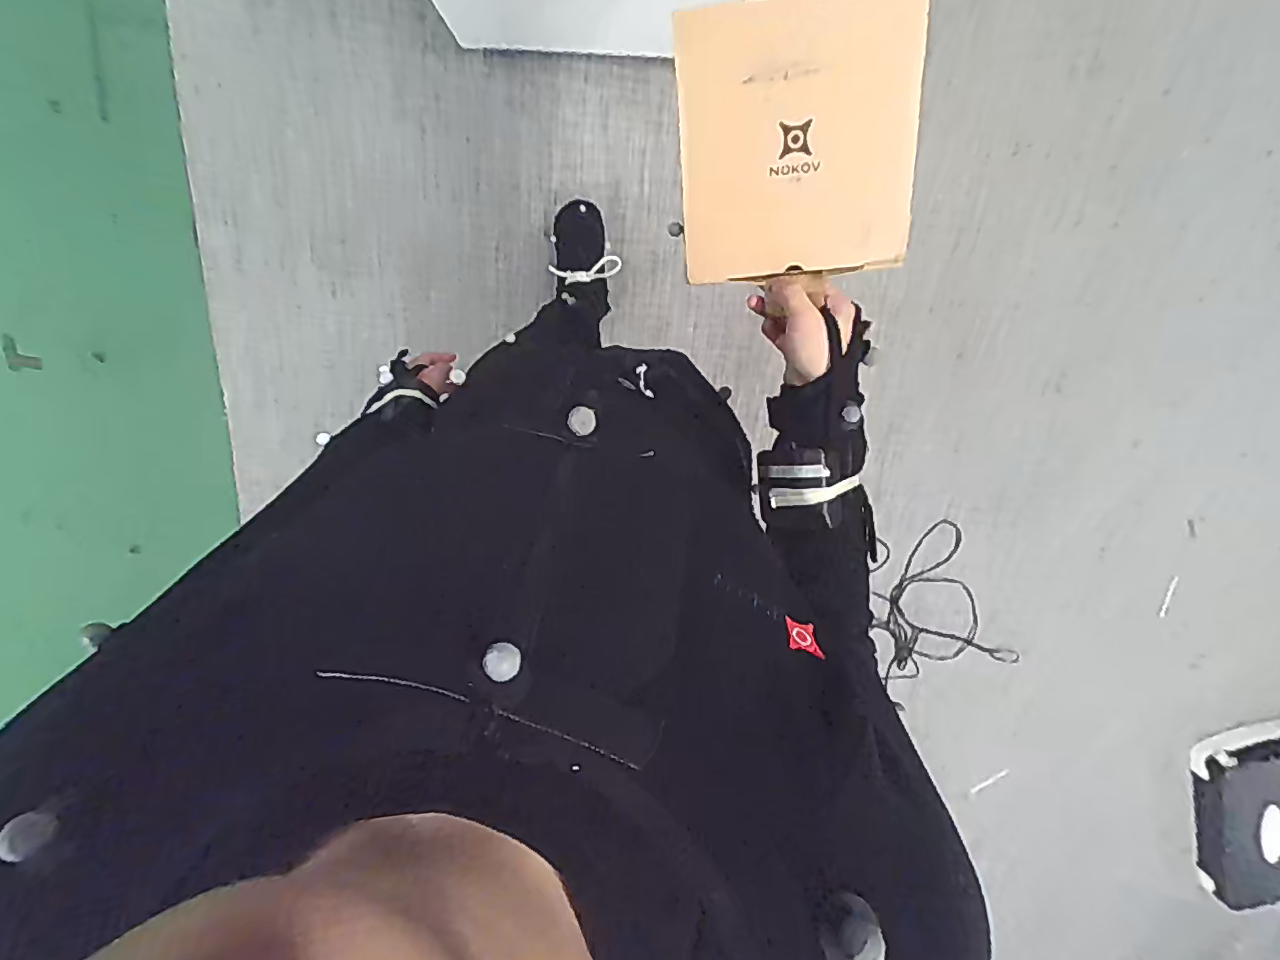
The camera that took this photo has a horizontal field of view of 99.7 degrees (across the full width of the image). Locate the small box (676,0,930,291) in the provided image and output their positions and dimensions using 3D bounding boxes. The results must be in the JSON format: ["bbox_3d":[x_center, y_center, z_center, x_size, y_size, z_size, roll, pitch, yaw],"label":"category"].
[{"bbox_3d":[0.121,-0.263,0.460,0.168,0.176,0.179,-3,111,7],"label":"small box"}]
